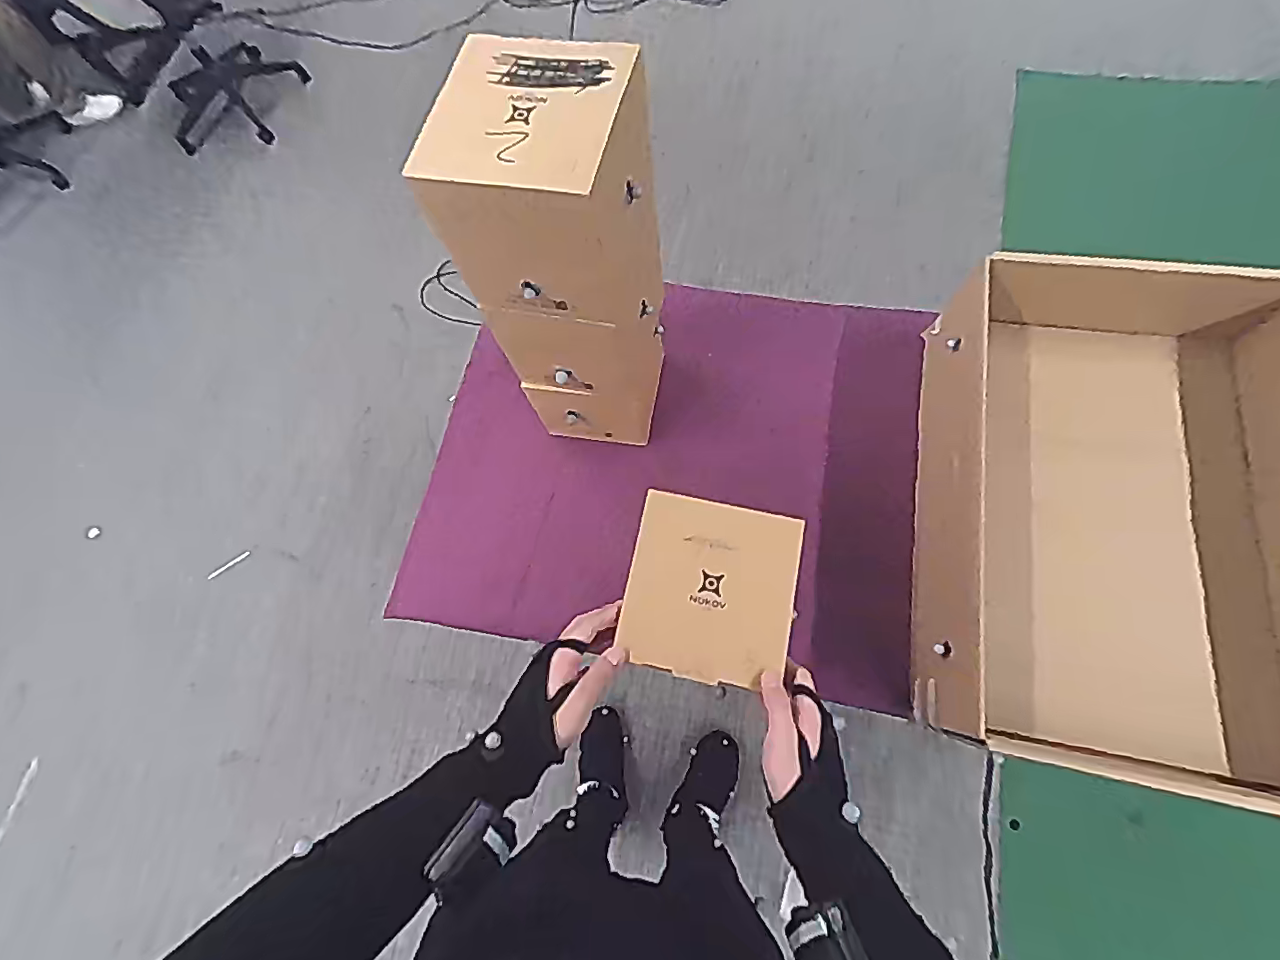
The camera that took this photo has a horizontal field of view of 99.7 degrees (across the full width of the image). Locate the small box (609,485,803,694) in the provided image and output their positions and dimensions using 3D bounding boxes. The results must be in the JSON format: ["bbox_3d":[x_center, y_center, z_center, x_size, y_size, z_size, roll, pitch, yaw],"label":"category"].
[{"bbox_3d":[0.071,0.126,0.611,0.168,0.176,0.179,13,73,5],"label":"small box"}]

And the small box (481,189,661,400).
[{"bbox_3d":[-0.071,-0.228,0.688,0.168,0.176,0.179,12,72,10],"label":"small box"}]

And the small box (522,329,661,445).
[{"bbox_3d":[-0.063,-0.170,0.841,0.168,0.176,0.179,8,70,9],"label":"small box"}]
